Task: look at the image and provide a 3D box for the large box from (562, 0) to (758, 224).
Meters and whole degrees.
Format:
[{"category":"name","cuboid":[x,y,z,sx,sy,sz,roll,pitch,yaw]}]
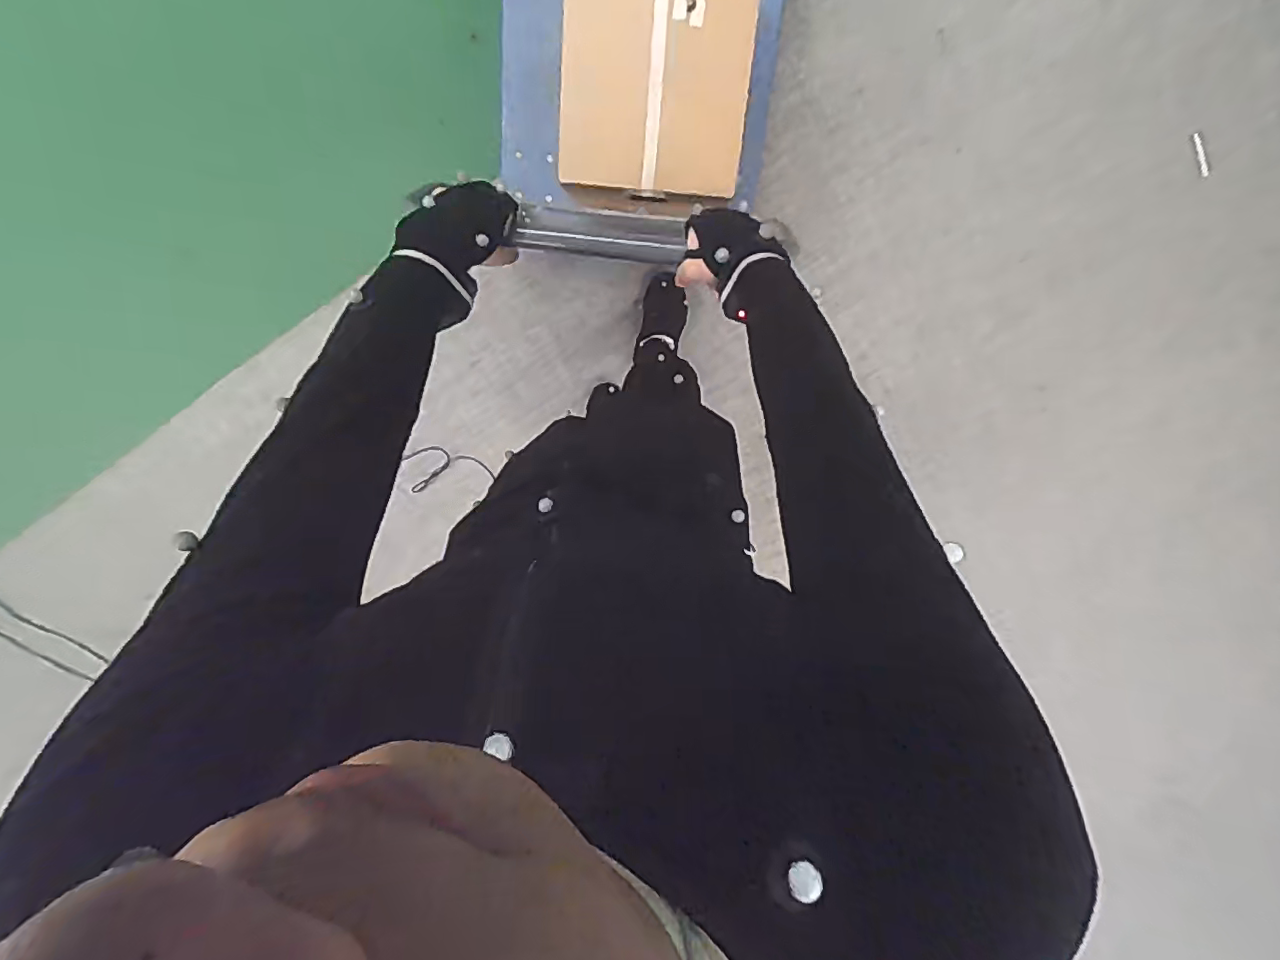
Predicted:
[{"category":"large box","cuboid":[0.033,-0.744,1.050,0.320,0.320,0.408,5,109,-1]}]
